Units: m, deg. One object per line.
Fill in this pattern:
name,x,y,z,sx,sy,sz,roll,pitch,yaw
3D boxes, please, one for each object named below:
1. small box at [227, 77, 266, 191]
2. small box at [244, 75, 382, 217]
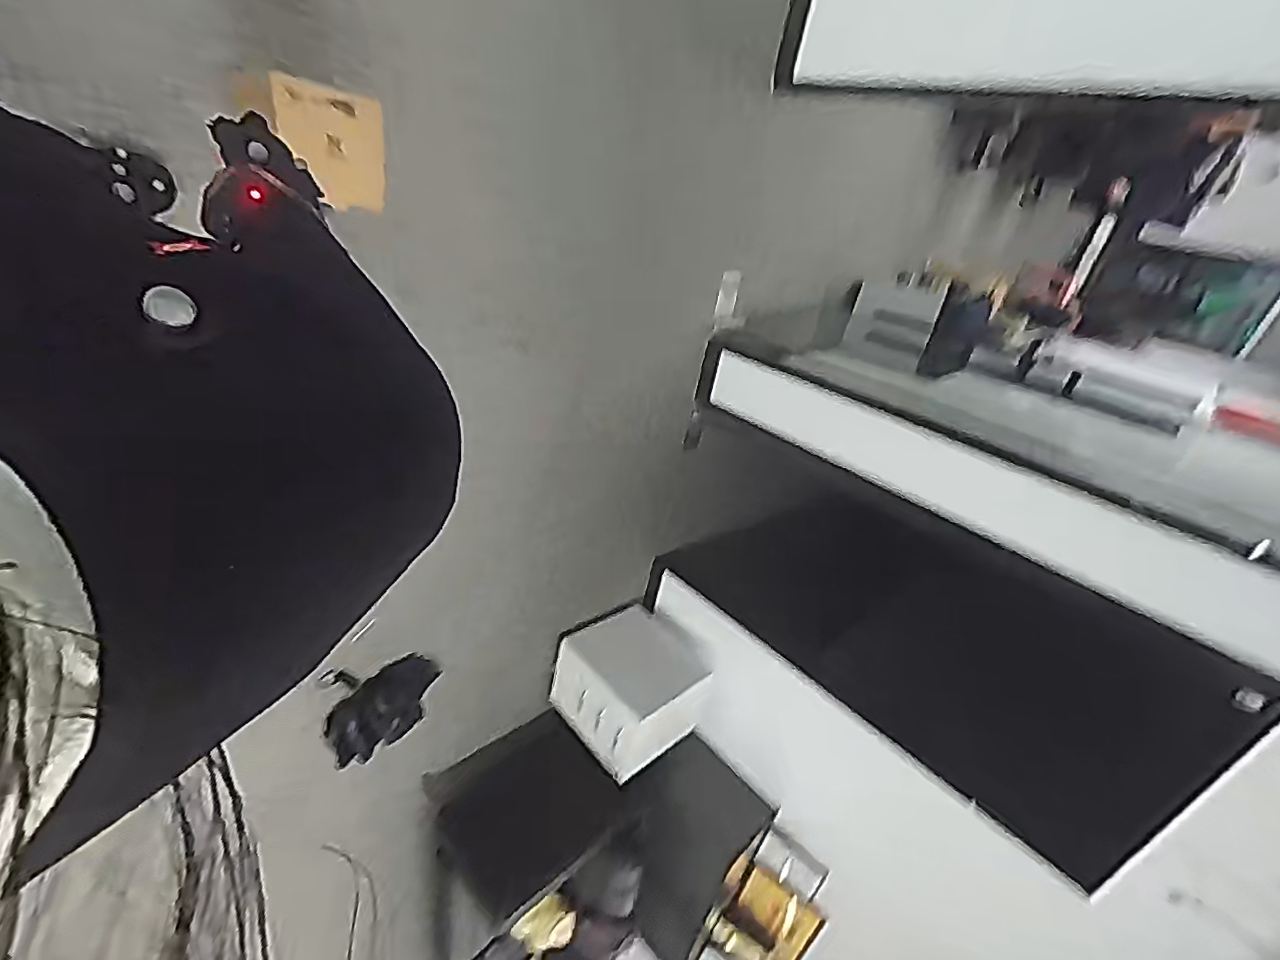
small box,-0.678,-0.657,1.054,0.168,0.176,0.179,-16,126,-43
small box,-0.574,-0.584,0.953,0.168,0.176,0.179,-14,127,-44
